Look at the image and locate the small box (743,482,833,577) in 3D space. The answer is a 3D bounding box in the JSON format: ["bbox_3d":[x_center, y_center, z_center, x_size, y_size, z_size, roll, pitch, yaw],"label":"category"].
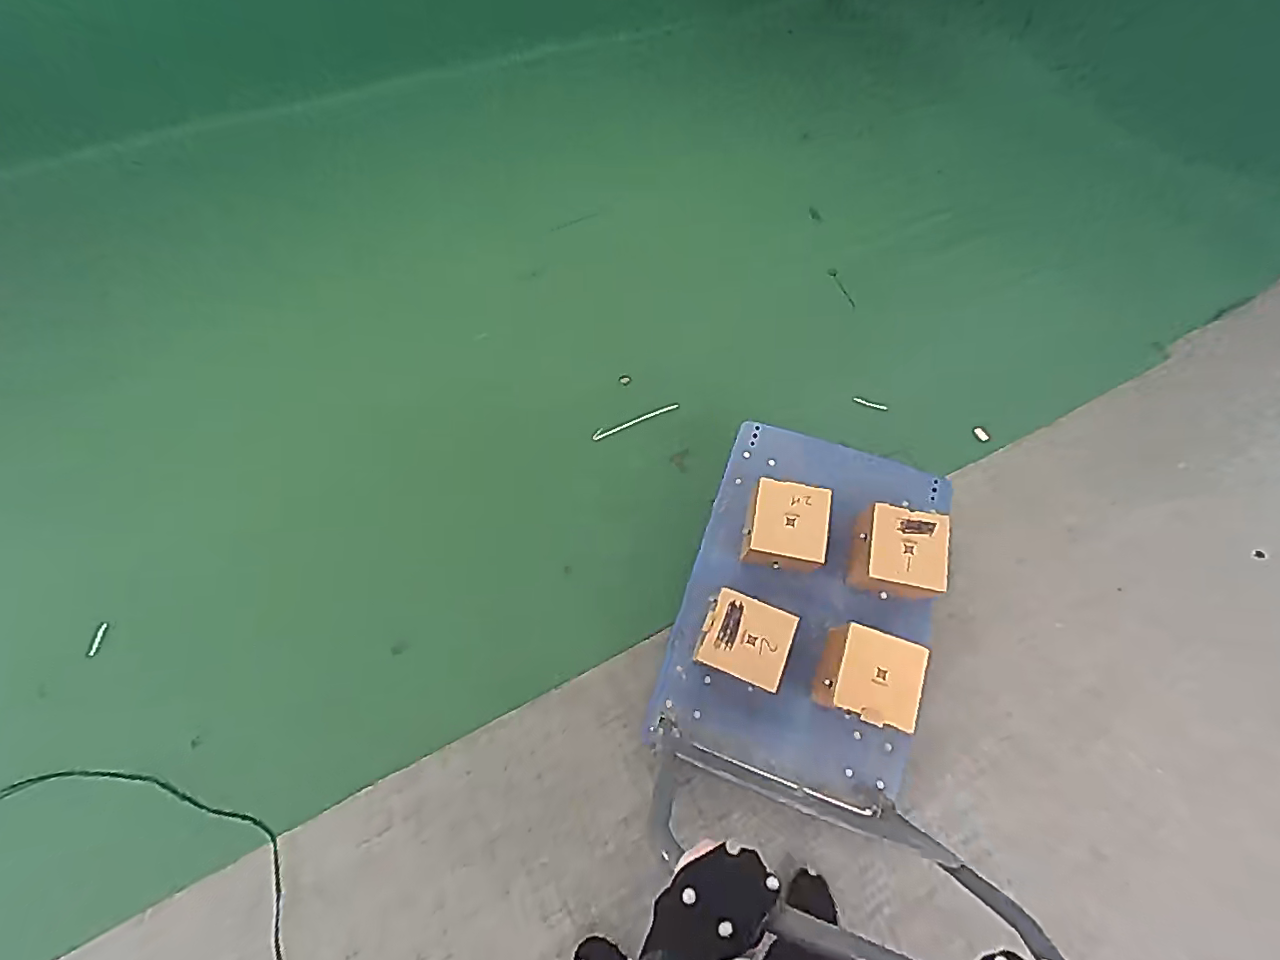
[{"bbox_3d":[0.348,0.125,1.297,0.168,0.176,0.179,12,71,5],"label":"small box"}]

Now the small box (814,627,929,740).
[{"bbox_3d":[0.496,0.438,1.180,0.168,0.176,0.179,19,73,8],"label":"small box"}]

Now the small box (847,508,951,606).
[{"bbox_3d":[0.600,0.185,1.267,0.168,0.176,0.179,12,72,7],"label":"small box"}]
